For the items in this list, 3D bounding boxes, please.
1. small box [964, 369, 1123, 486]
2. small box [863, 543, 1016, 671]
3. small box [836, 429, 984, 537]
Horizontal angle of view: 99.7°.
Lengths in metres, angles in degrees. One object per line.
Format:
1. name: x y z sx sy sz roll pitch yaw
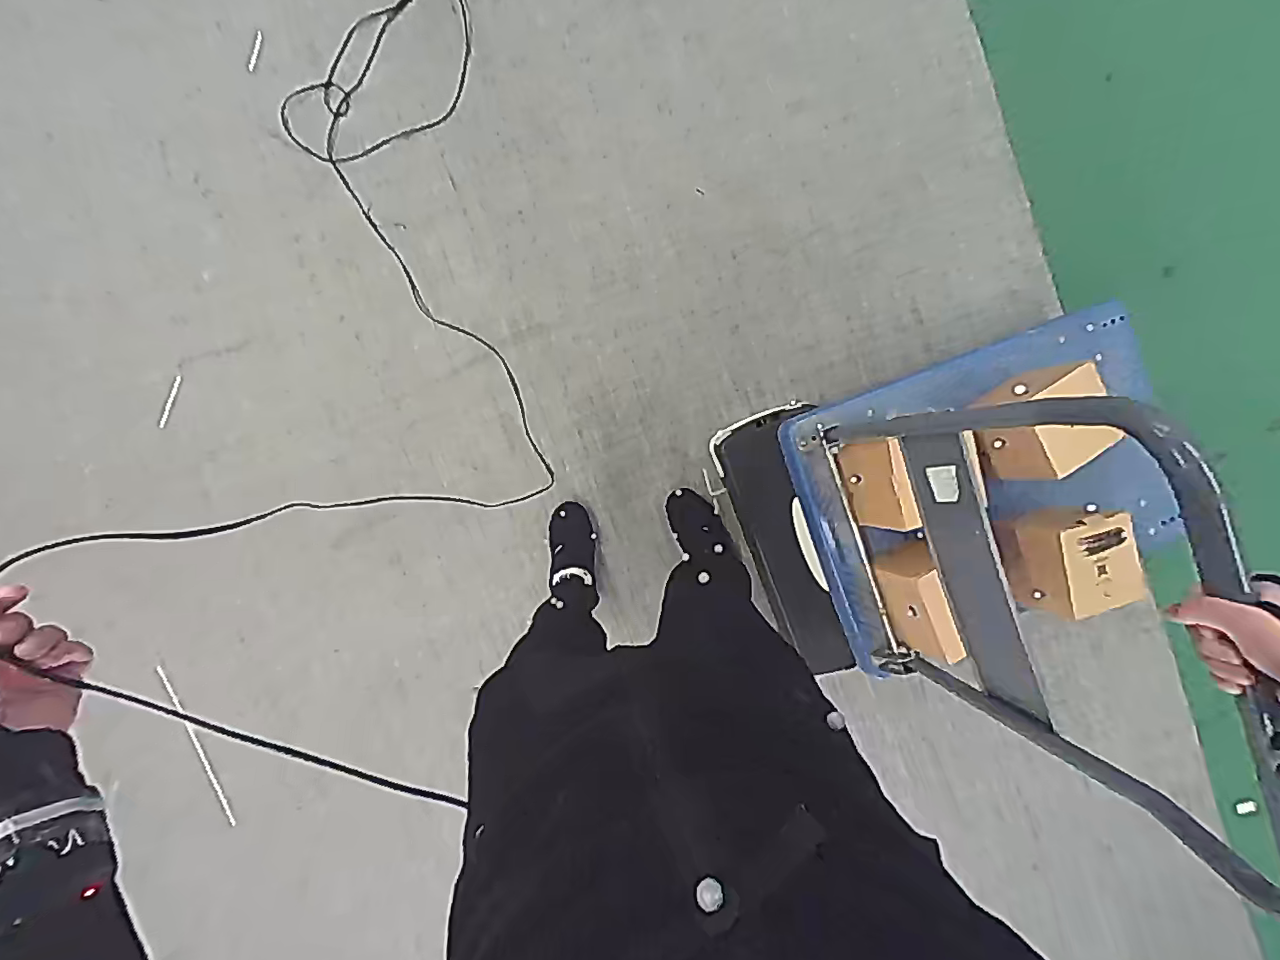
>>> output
1. small box: 0.792 -0.098 1.086 0.179 0.176 0.168 -29 96 -9
2. small box: 0.567 0.231 1.045 0.168 0.176 0.179 -24 95 -9
3. small box: 0.508 0.002 1.036 0.179 0.176 0.168 -14 93 -10
